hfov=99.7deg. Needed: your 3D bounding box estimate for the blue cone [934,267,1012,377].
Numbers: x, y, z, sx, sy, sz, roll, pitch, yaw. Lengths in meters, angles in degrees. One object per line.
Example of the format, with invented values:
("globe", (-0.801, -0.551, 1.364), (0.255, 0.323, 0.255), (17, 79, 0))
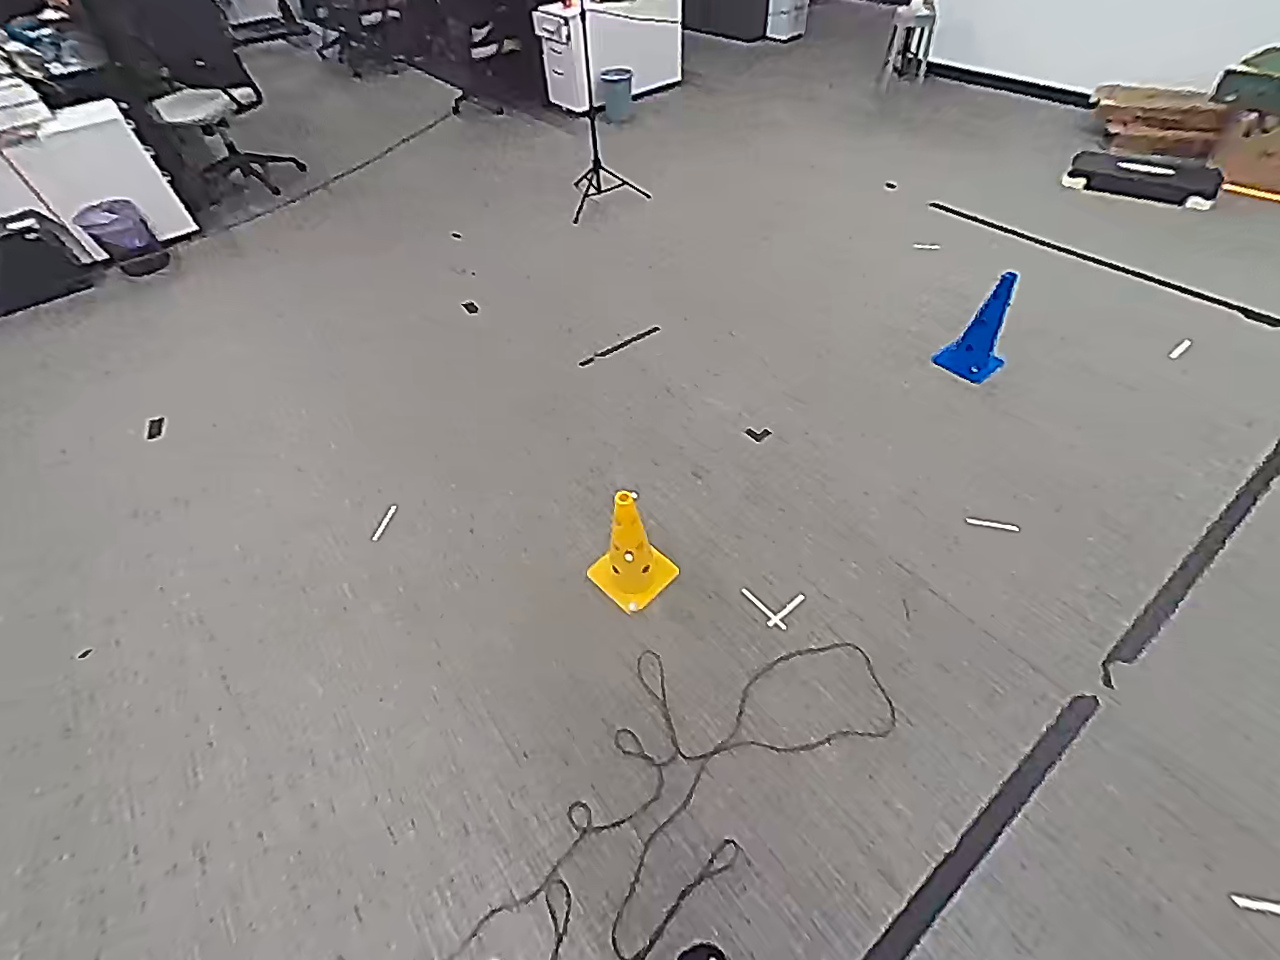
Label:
("blue cone", (1.232, -0.569, 1.925), (0.193, 0.380, 0.192), (-32, 54, -21))
